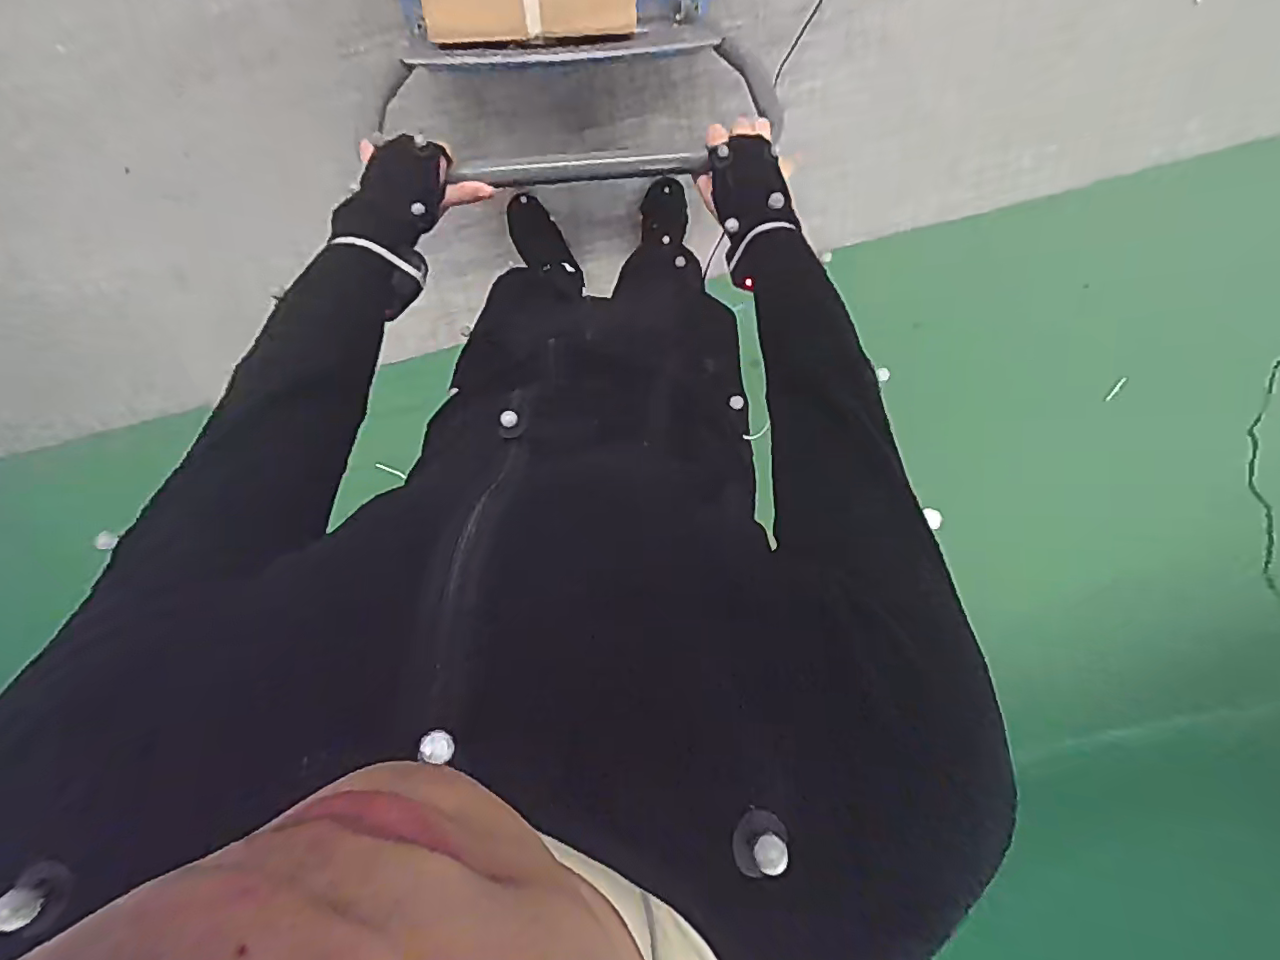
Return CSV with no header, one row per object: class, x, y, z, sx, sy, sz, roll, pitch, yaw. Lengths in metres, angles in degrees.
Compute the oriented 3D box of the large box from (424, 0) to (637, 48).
large box,-0.181,-0.914,0.799,0.320,0.320,0.408,-6,133,-4
